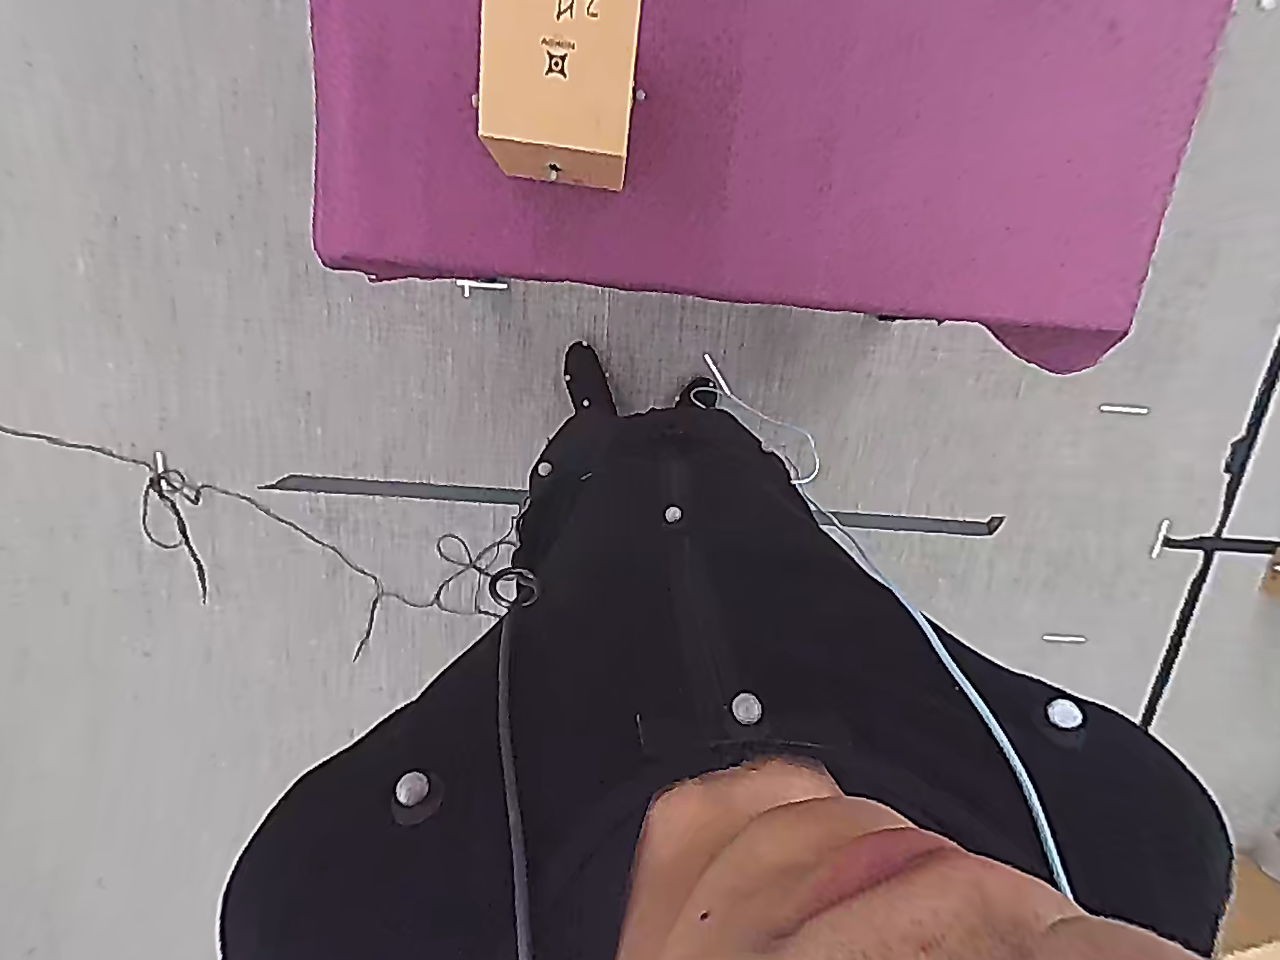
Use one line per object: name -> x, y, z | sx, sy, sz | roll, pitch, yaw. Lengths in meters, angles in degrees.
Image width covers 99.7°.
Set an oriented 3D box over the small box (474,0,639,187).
small box -> -0.095, -0.473, 0.652 | 0.168, 0.176, 0.179 | 6, 106, -6
